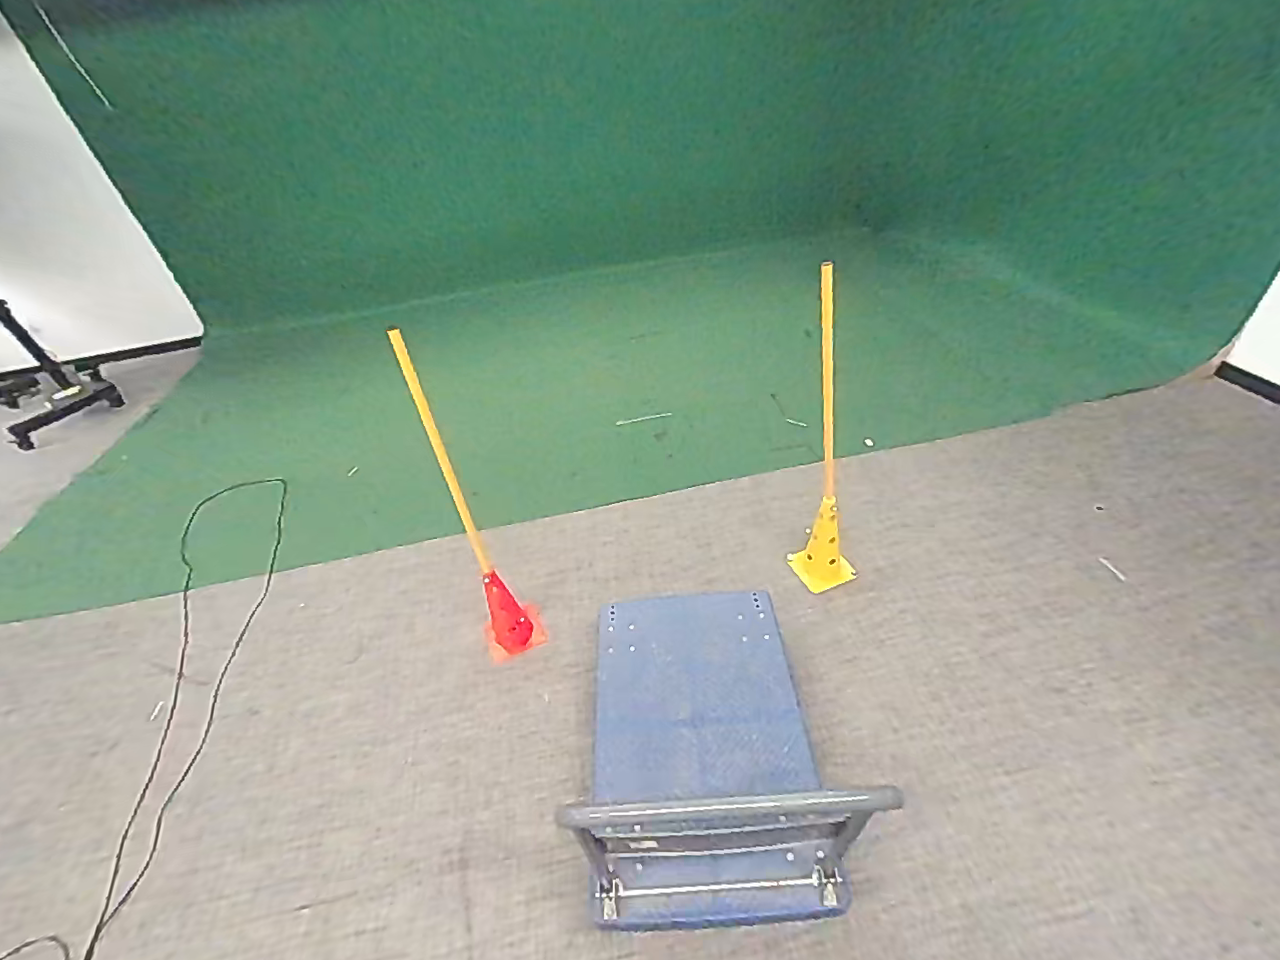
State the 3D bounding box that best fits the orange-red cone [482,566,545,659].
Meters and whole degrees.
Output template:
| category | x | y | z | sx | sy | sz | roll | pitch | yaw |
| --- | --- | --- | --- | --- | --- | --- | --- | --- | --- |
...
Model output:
| category | x | y | z | sx | sy | sz | roll | pitch | yaw |
| --- | --- | --- | --- | --- | --- | --- | --- | --- | --- |
| orange-red cone | -0.486 | 0.432 | 1.901 | 0.199 | 0.360 | 0.198 | -22 | 41 | -13 |
